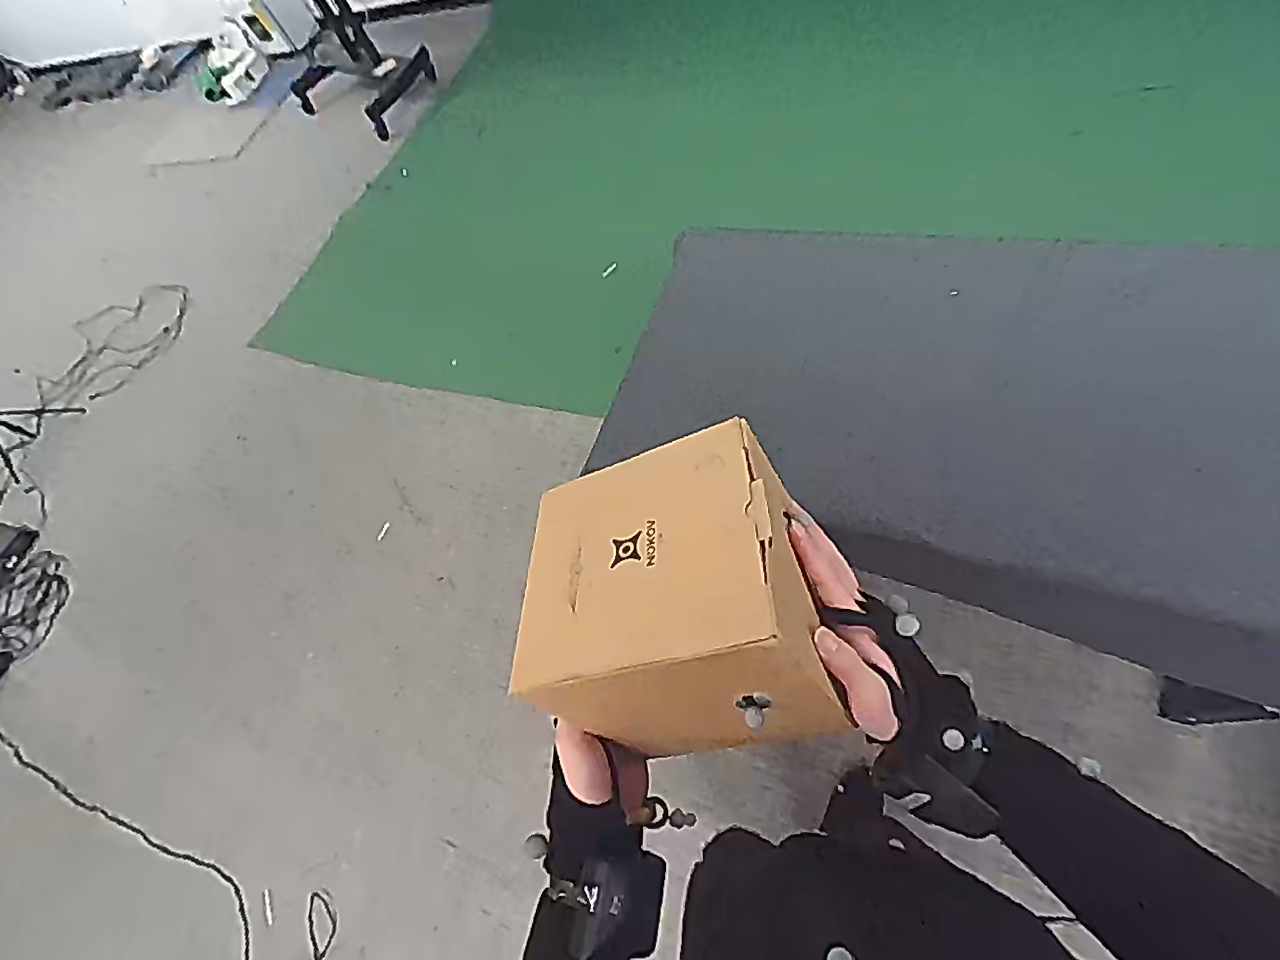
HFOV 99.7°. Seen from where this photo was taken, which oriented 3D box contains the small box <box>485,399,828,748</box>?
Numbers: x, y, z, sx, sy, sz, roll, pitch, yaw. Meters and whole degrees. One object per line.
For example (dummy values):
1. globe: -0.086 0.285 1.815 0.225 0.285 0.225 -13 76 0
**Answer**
1. small box: 0.023 0.079 0.394 0.179 0.176 0.168 -21 43 23
